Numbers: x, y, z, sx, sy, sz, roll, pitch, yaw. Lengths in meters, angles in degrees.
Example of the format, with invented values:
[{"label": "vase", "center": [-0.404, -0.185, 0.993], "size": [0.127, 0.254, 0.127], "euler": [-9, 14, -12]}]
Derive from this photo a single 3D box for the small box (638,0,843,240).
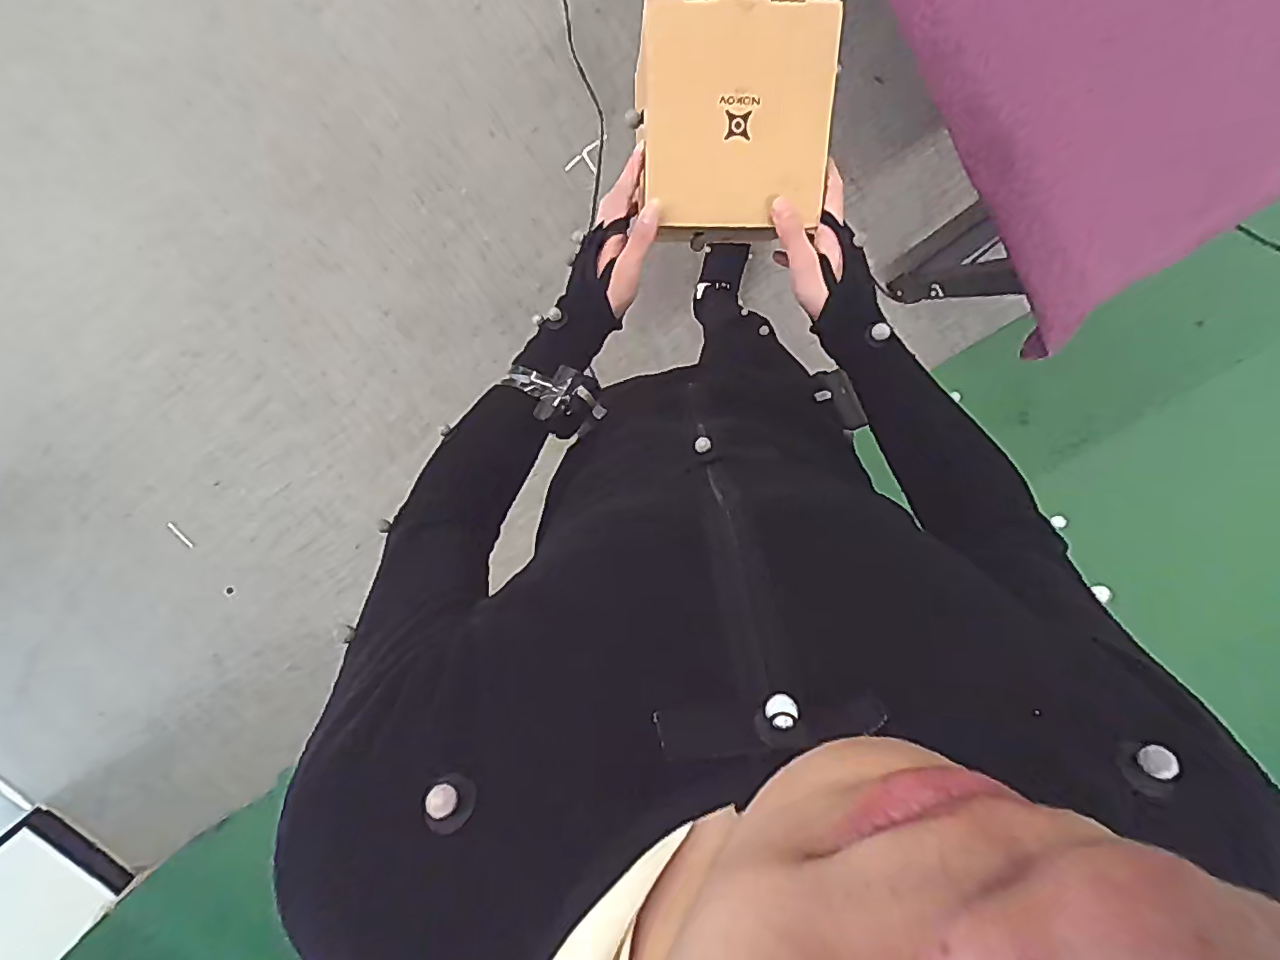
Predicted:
[{"label": "small box", "center": [0.084, -0.344, 0.544], "size": [0.168, 0.176, 0.179], "euler": [0, 108, -2]}]
